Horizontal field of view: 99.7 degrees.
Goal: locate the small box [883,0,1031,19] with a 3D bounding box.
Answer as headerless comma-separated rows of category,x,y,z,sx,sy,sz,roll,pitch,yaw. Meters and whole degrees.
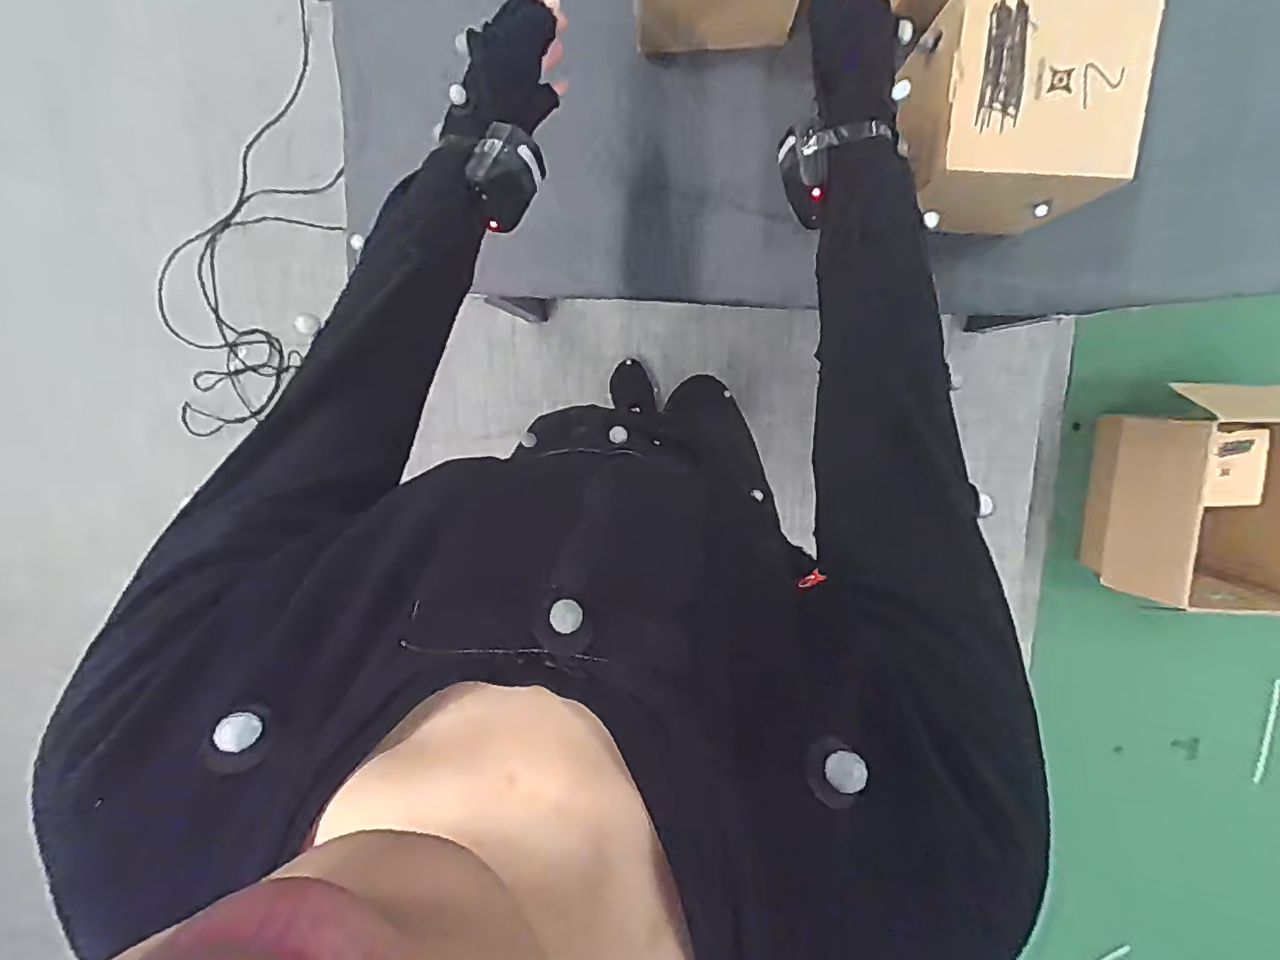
small box,0.360,-0.596,0.525,0.179,0.176,0.168,-2,100,4
